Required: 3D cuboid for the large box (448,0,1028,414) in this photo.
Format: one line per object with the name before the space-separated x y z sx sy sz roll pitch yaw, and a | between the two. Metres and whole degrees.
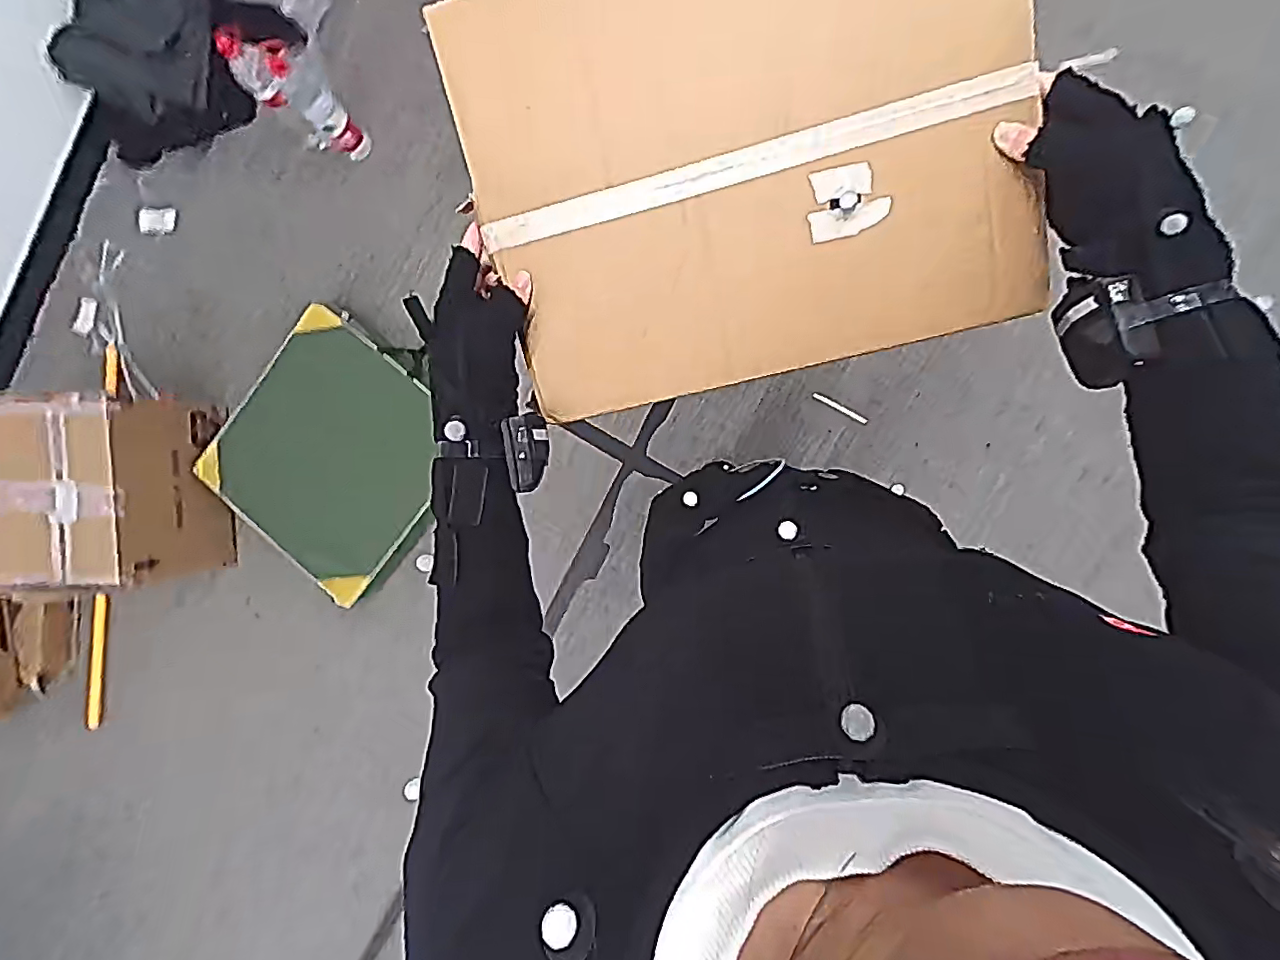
large box | 0.089 -0.281 0.558 0.408 0.320 0.320 -12 105 8
